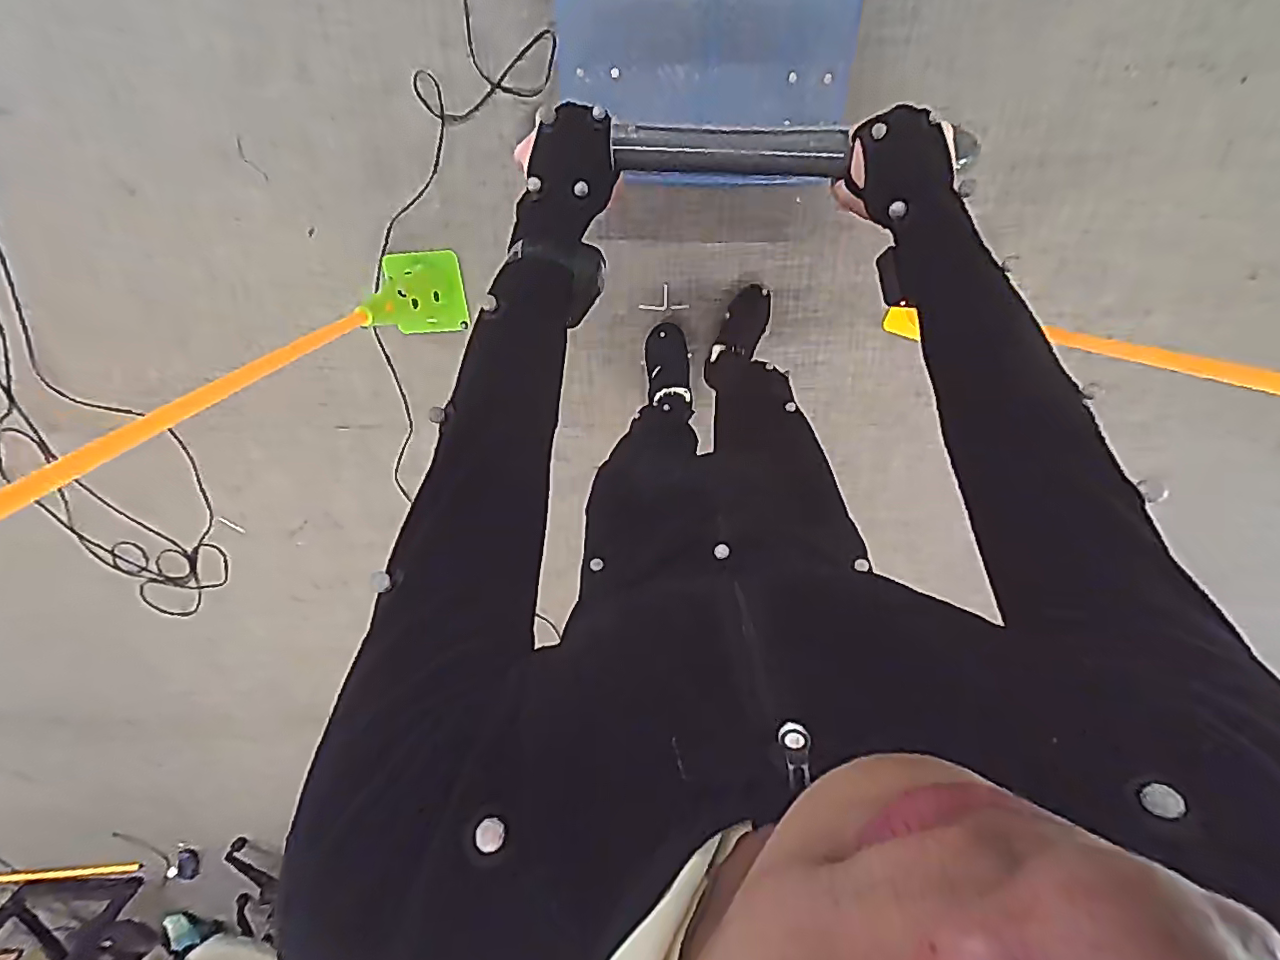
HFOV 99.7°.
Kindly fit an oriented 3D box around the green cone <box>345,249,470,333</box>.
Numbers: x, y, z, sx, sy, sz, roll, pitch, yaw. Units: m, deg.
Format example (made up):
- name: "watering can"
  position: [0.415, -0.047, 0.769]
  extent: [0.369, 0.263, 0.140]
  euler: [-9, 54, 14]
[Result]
- name: "green cone"
  position: [-0.565, -0.415, 1.256]
  extent: [0.202, 0.368, 0.200]
  euler: [-3, 116, 5]
